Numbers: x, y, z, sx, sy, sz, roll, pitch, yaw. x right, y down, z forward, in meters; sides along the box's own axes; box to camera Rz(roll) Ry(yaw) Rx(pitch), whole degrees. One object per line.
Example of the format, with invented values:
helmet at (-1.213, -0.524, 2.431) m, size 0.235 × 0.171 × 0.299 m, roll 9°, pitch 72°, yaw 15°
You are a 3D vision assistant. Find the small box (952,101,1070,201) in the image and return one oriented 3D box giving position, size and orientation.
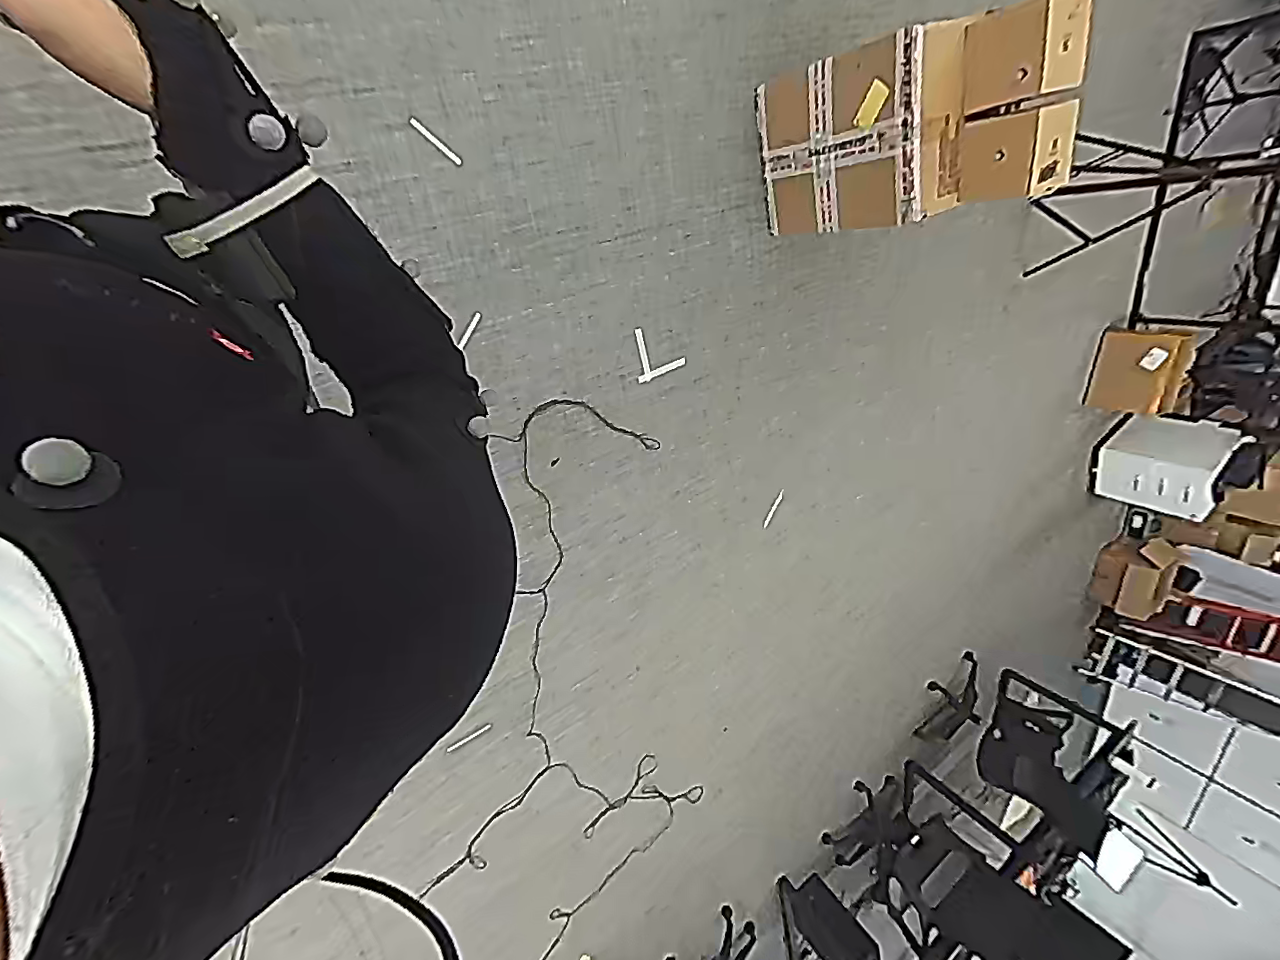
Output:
small box at (0.880, -0.780, 1.297) m, size 0.168 × 0.176 × 0.179 m, roll -25°, pitch 120°, yaw -22°

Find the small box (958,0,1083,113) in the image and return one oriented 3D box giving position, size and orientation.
small box at (0.838, -0.943, 1.206) m, size 0.168 × 0.176 × 0.179 m, roll -25°, pitch 117°, yaw -23°
